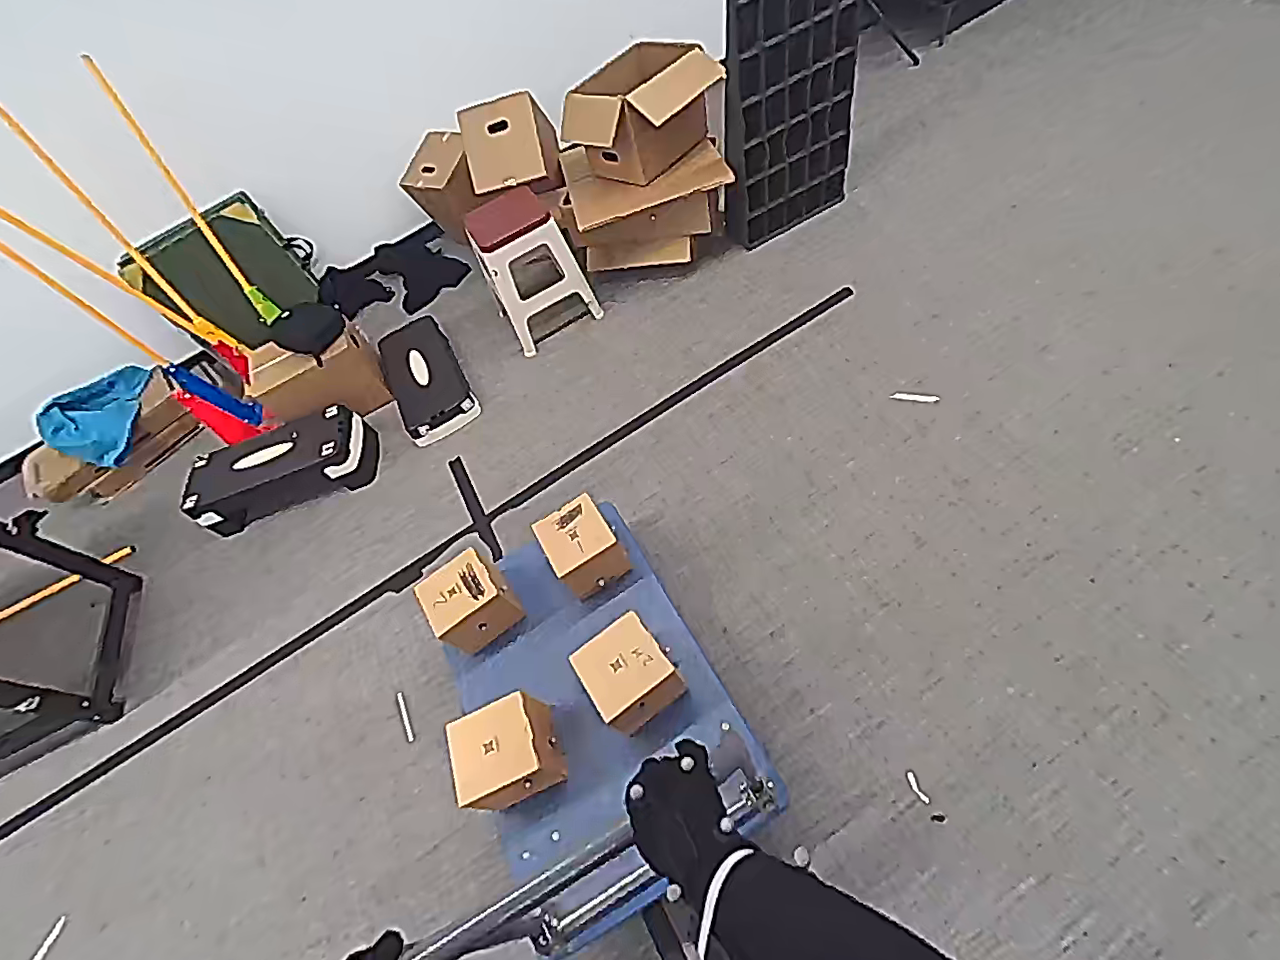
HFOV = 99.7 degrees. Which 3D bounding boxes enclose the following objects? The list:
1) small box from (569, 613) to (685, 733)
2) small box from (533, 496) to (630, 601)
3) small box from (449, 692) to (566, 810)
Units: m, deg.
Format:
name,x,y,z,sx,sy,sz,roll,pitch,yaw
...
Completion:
name,x,y,z,sx,sy,sz,roll,pitch,yaw
small box,-0.023,0.432,1.198,0.179,0.176,0.168,-35,55,-8
small box,-0.147,0.181,1.398,0.168,0.176,0.179,-32,56,-6
small box,-0.284,0.592,1.170,0.179,0.176,0.168,-25,54,-3
